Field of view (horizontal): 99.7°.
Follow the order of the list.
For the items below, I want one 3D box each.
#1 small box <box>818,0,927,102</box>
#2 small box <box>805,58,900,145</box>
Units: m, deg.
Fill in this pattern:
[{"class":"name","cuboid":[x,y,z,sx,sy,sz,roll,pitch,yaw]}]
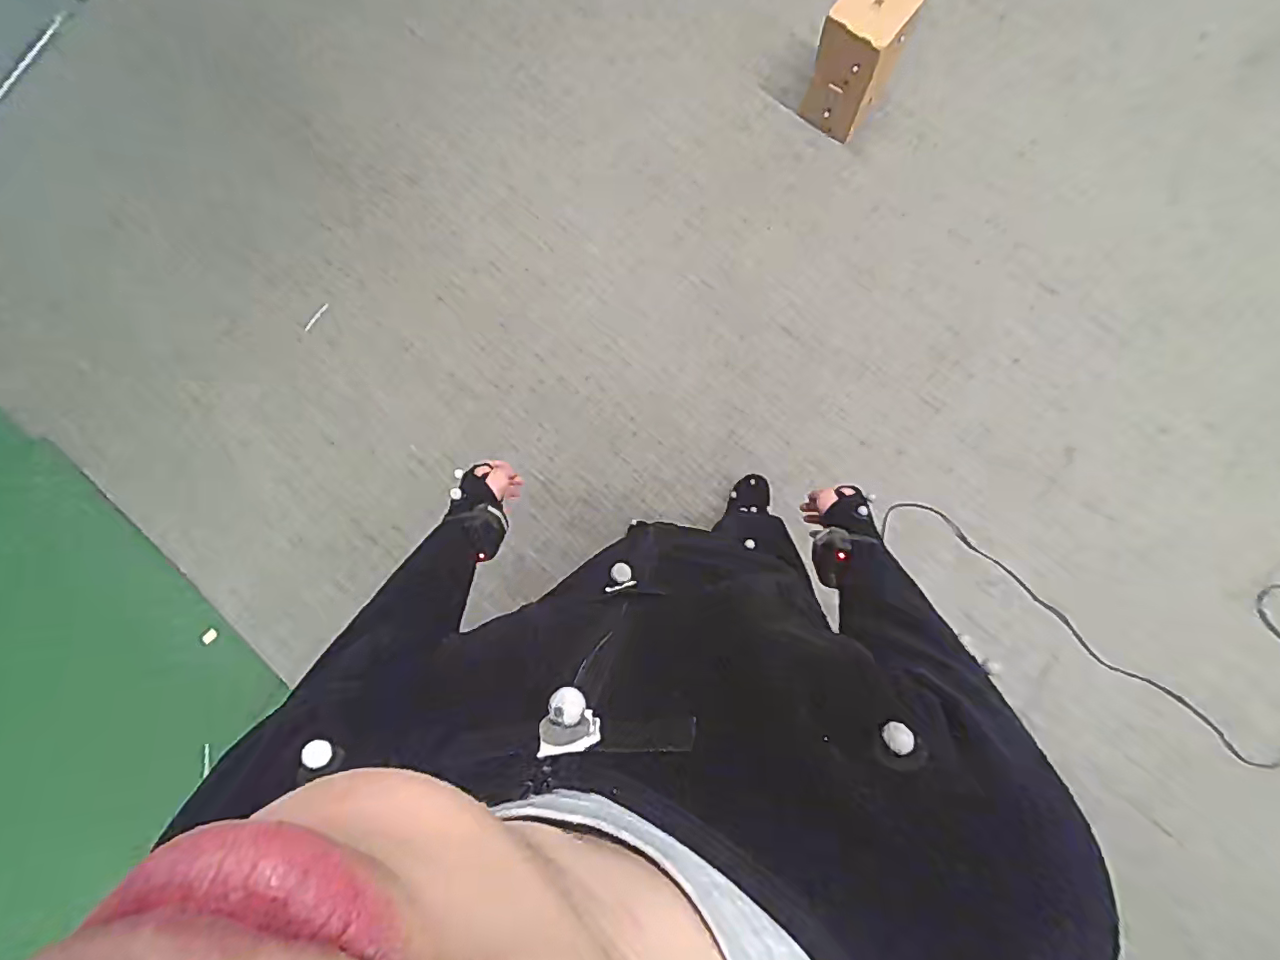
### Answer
[{"class":"small box","cuboid":[0.567,-1.106,1.351,0.168,0.176,0.179,39,89,6]},{"class":"small box","cuboid":[0.582,-1.092,1.512,0.168,0.176,0.179,38,90,7]}]
